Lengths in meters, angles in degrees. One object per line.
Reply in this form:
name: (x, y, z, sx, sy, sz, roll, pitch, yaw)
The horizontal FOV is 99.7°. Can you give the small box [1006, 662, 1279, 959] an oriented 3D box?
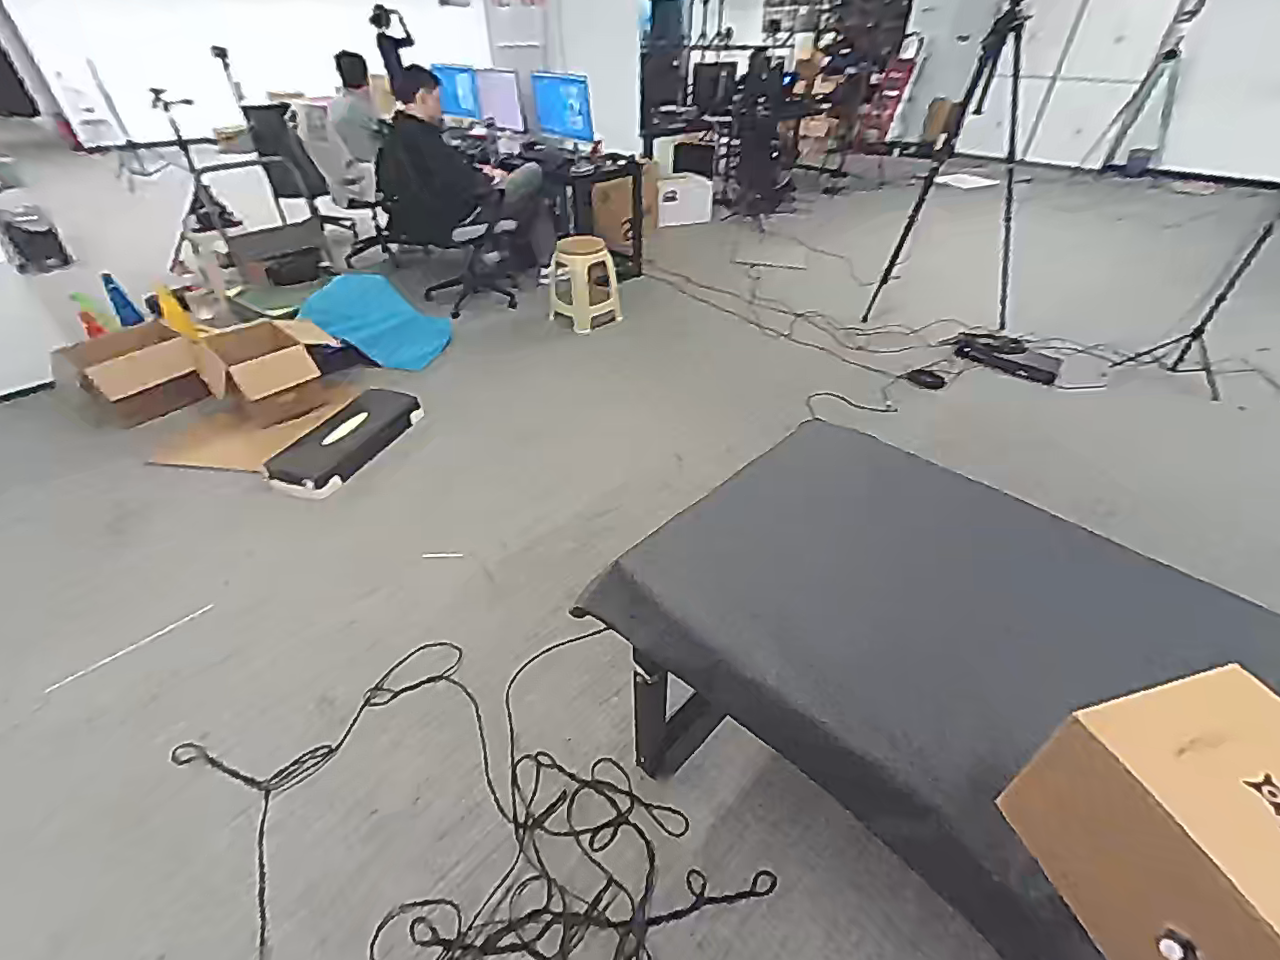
small box: (0.443, 0.279, 0.421, 0.168, 0.176, 0.179, -10, 38, -11)
